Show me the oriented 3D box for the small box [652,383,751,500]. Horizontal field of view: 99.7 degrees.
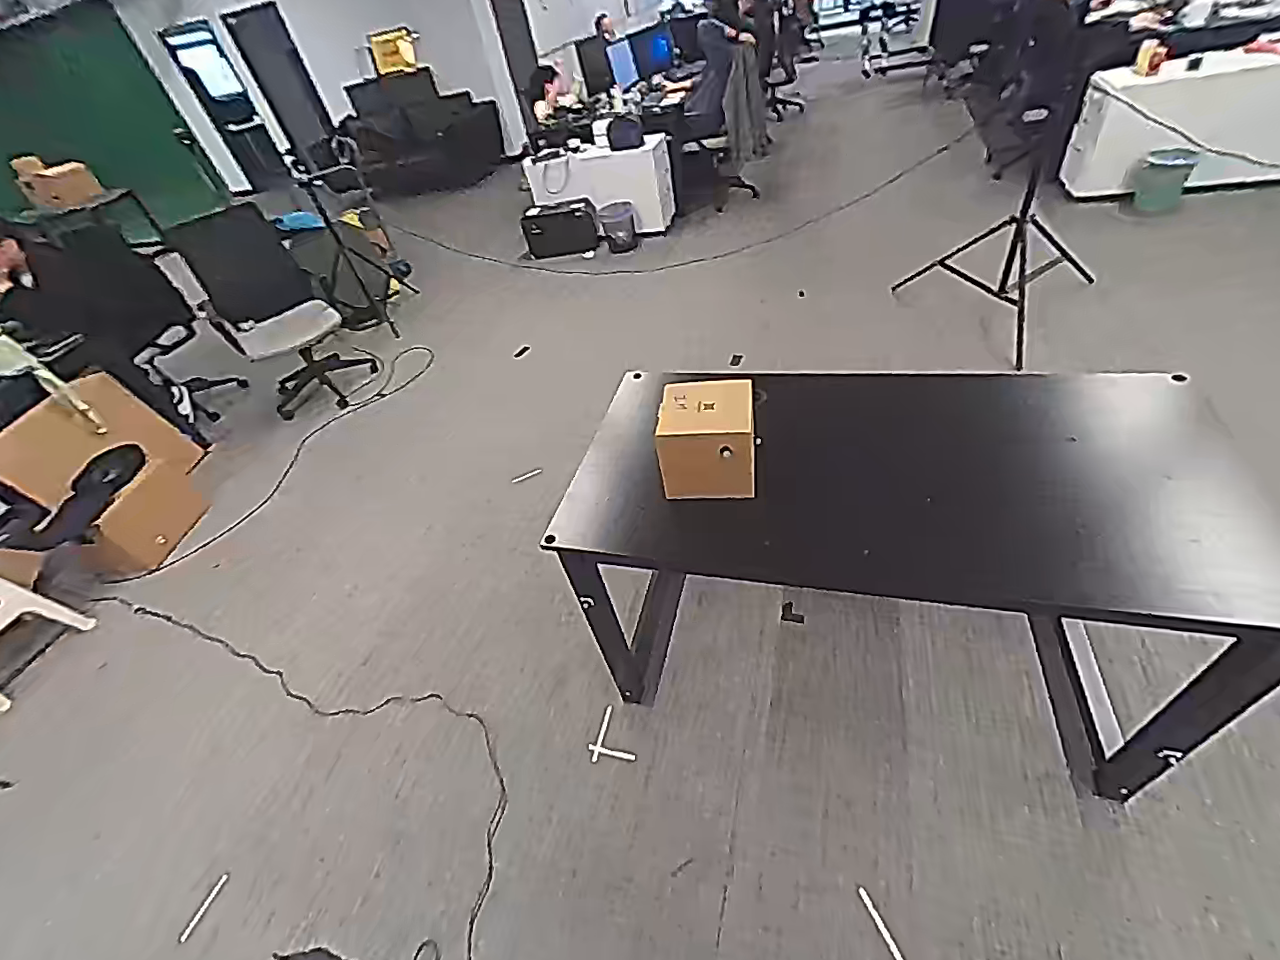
[{"bbox_3d":[0.132,-0.074,1.078,0.179,0.176,0.168,-2,44,13],"label":"small box"}]
